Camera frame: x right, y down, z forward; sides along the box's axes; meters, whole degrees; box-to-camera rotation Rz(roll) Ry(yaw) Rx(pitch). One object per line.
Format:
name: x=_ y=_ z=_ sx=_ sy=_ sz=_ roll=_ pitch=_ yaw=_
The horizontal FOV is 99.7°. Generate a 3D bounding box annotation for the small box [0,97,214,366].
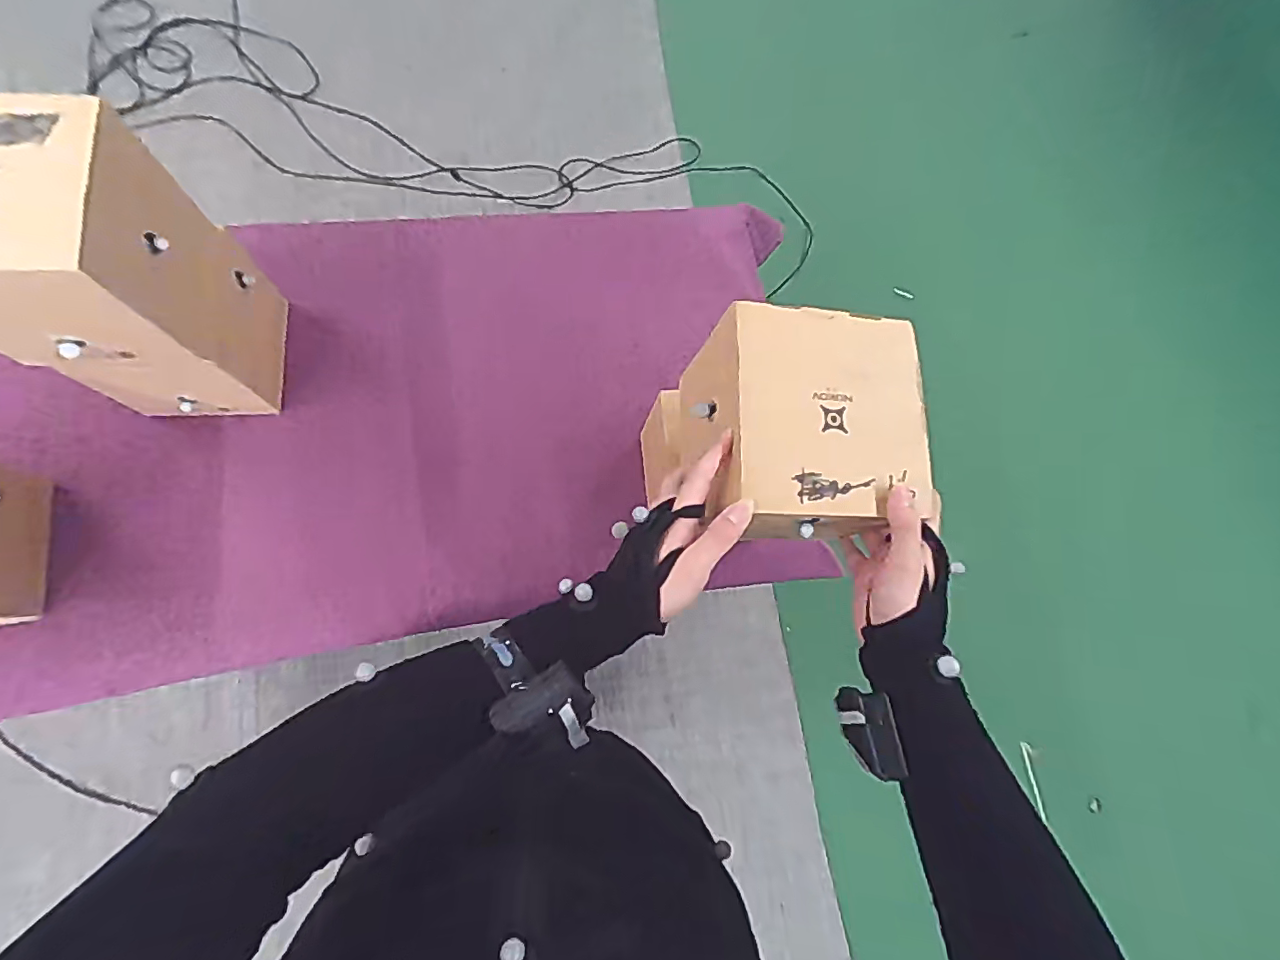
small box: x=-0.549 y=-0.225 z=0.518 sx=0.168 sy=0.176 sz=0.179 roll=-4 pitch=77 yaw=-10

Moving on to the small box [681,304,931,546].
small box: x=0.137 y=-0.037 z=0.511 sx=0.168 sy=0.176 sz=0.179 roll=3 pitch=77 yaw=-10

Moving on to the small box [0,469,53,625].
small box: x=-0.793 y=0.071 z=0.574 sx=0.168 sy=0.176 sz=0.179 roll=-7 pitch=77 yaw=-11

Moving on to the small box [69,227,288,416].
small box: x=-0.570 y=-0.192 z=0.678 sx=0.168 sy=0.176 sz=0.179 roll=-2 pitch=77 yaw=-10
